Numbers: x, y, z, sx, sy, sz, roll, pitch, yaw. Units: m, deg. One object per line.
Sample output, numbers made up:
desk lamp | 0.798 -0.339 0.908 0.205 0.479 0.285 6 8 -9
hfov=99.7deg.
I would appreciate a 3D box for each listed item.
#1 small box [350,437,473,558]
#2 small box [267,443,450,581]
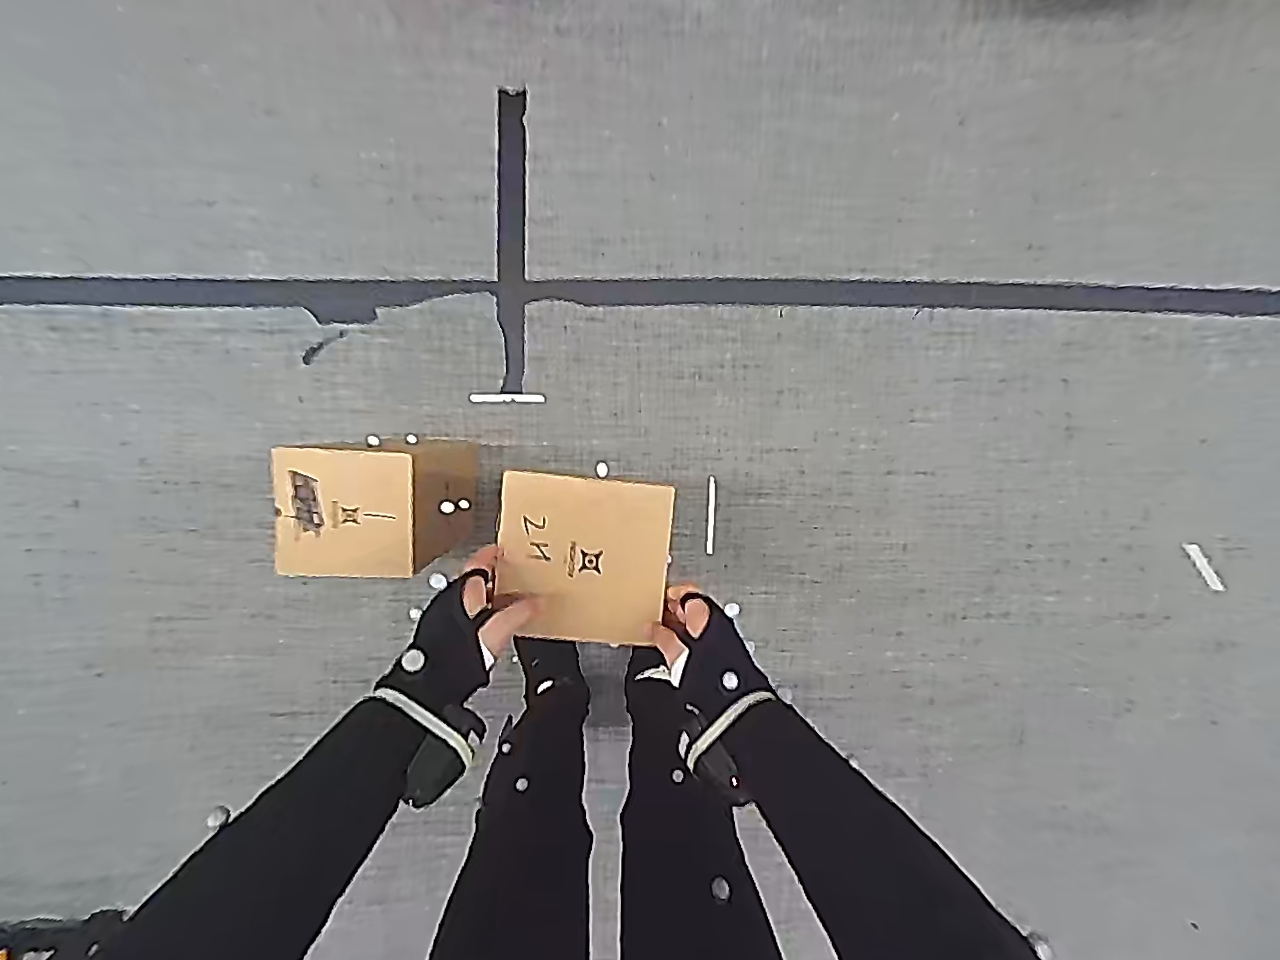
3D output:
small box | -0.390 0.023 0.924 0.168 0.176 0.179 3 97 -2
small box | -0.382 0.036 0.758 0.179 0.176 0.168 2 97 -3
